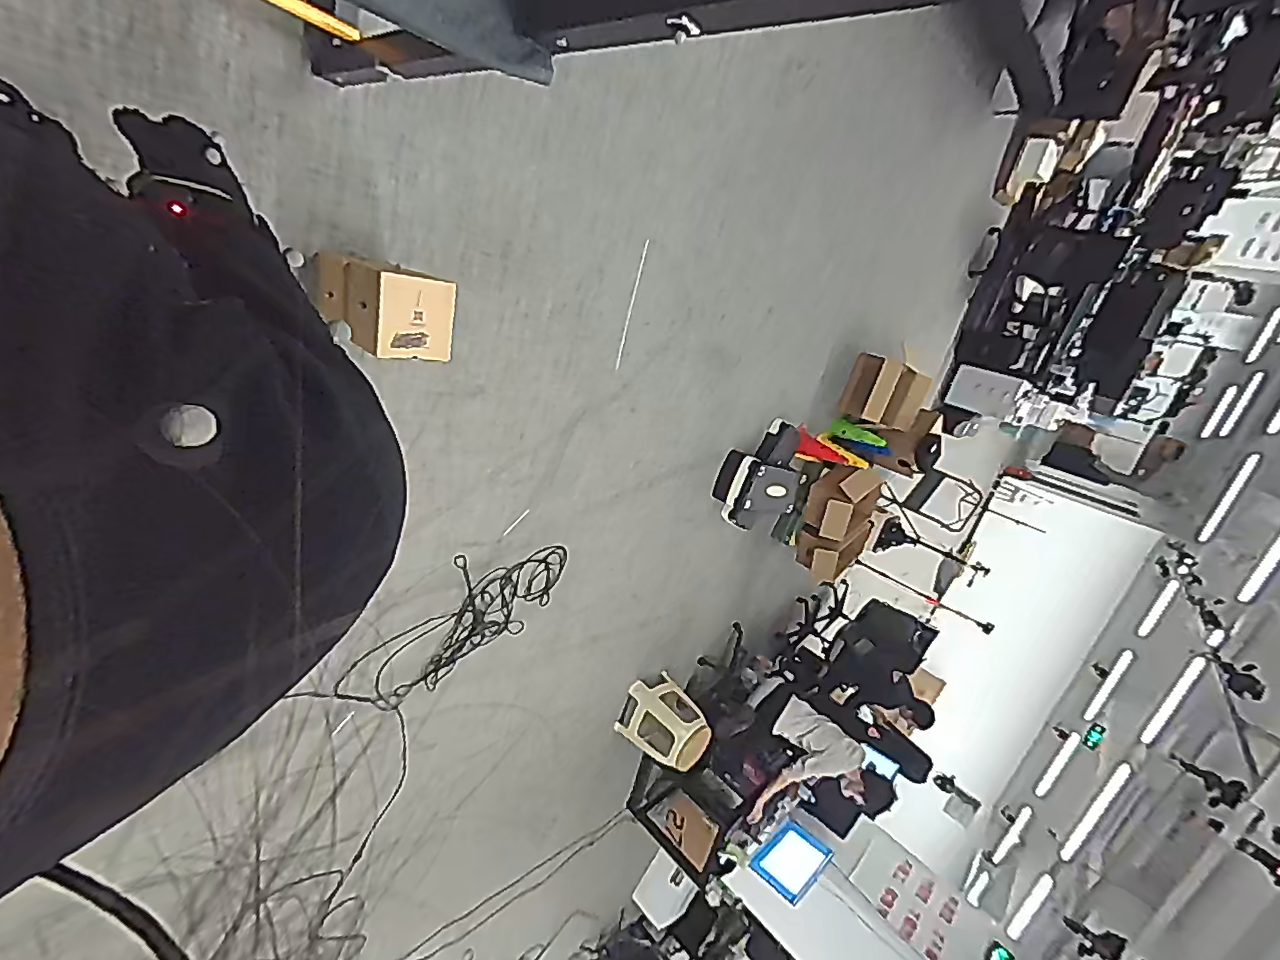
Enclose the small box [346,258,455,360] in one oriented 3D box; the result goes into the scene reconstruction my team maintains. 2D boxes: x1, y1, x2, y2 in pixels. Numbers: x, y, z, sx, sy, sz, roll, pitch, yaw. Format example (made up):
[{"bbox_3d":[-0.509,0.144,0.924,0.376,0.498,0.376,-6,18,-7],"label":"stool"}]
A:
[{"bbox_3d":[-0.536,-0.377,1.201,0.168,0.176,0.179,-8,119,-46],"label":"small box"}]
